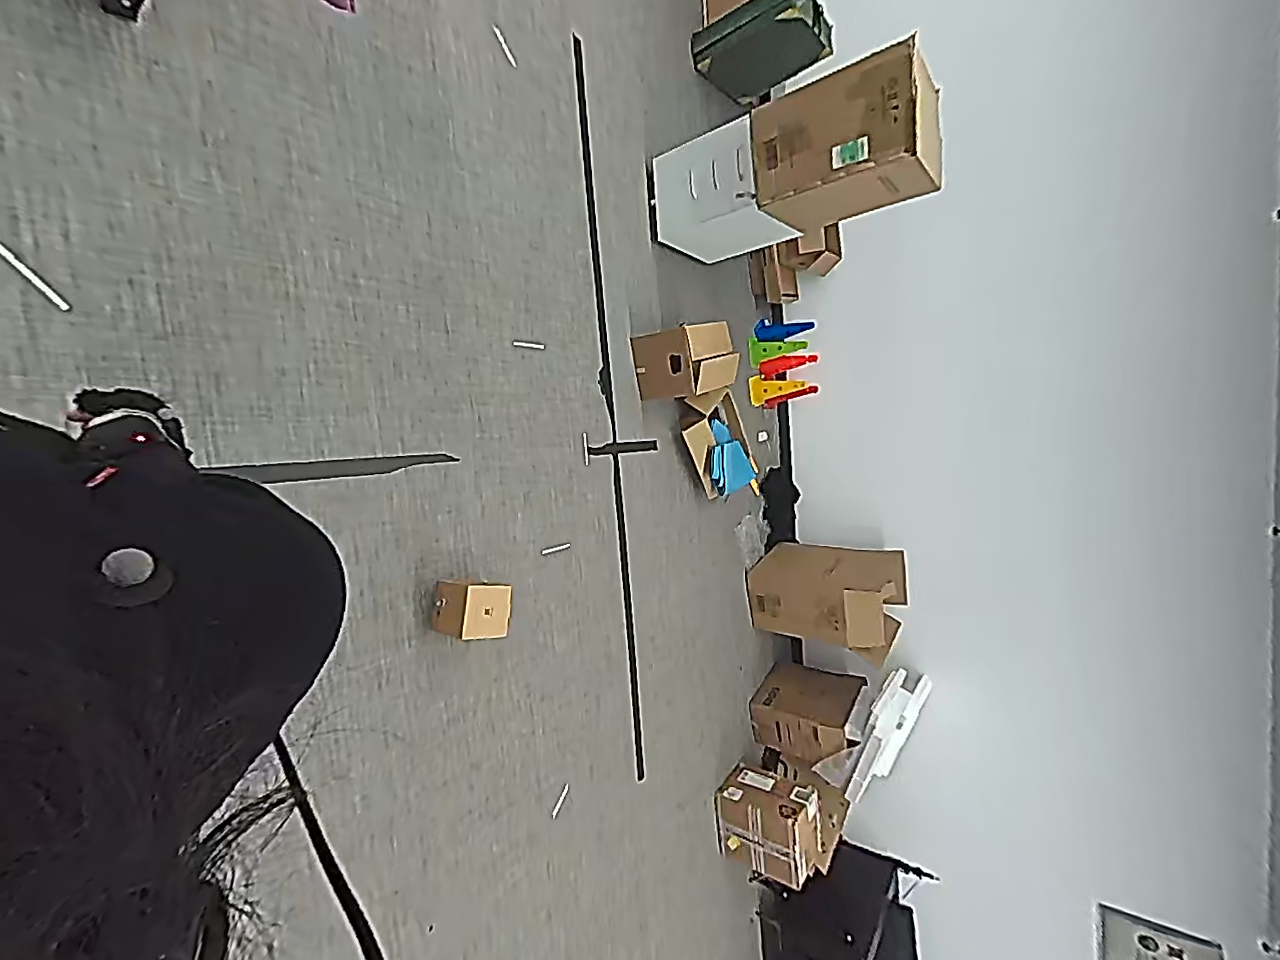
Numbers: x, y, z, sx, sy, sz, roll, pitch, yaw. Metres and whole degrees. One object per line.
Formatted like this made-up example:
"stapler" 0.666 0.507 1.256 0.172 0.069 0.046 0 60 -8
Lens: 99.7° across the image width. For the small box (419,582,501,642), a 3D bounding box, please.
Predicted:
"small box" -0.576 0.419 1.733 0.179 0.176 0.168 16 76 -52
